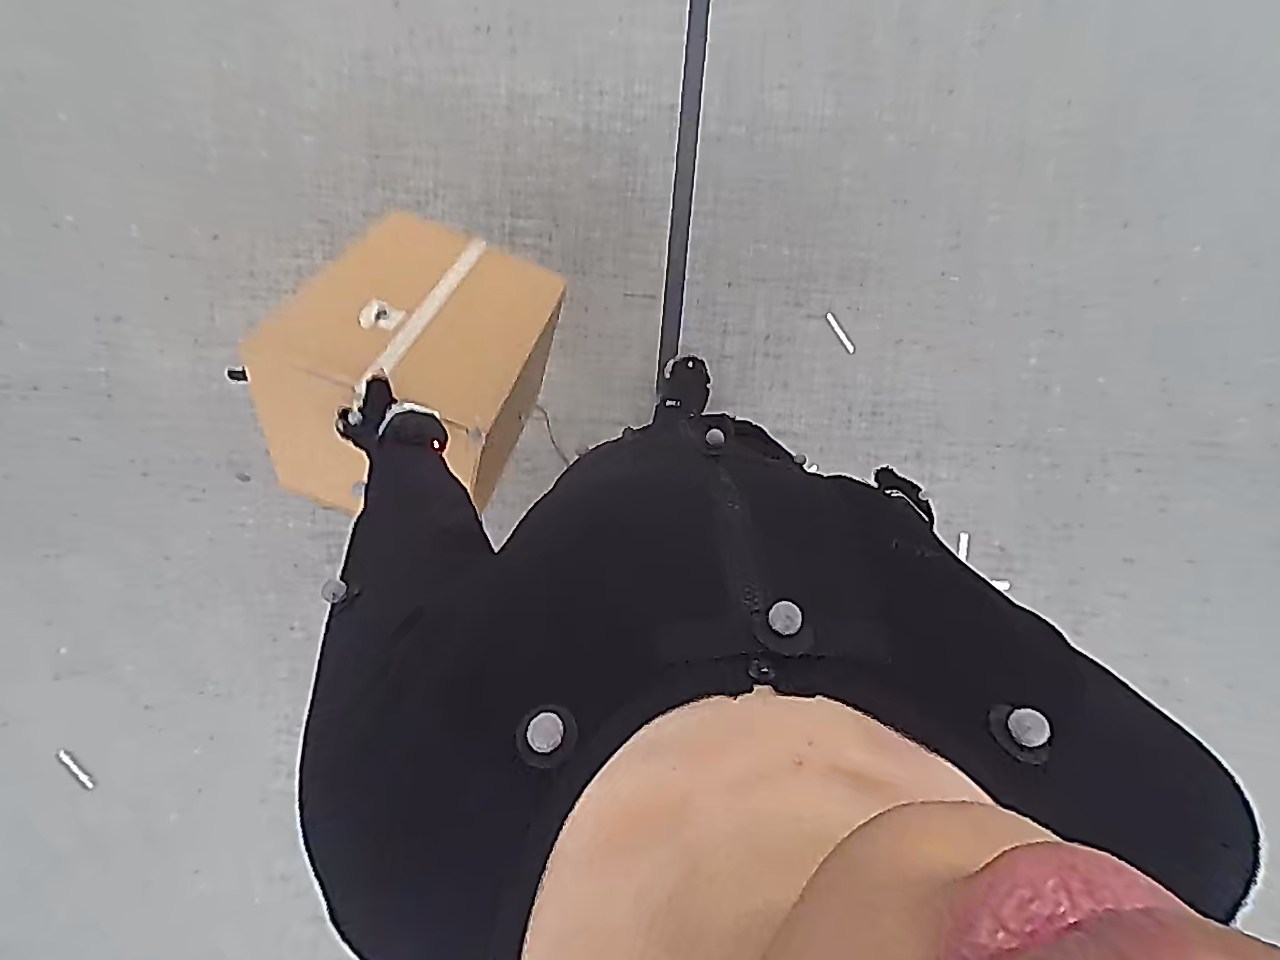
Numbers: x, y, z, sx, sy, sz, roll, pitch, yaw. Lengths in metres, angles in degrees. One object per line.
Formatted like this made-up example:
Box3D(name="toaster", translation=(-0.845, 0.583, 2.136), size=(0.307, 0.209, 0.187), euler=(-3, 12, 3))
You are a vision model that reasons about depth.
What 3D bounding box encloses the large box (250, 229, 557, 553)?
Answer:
Box3D(name="large box", translation=(-0.368, -0.153, 0.936), size=(0.320, 0.408, 0.320), euler=(19, 138, -7))
